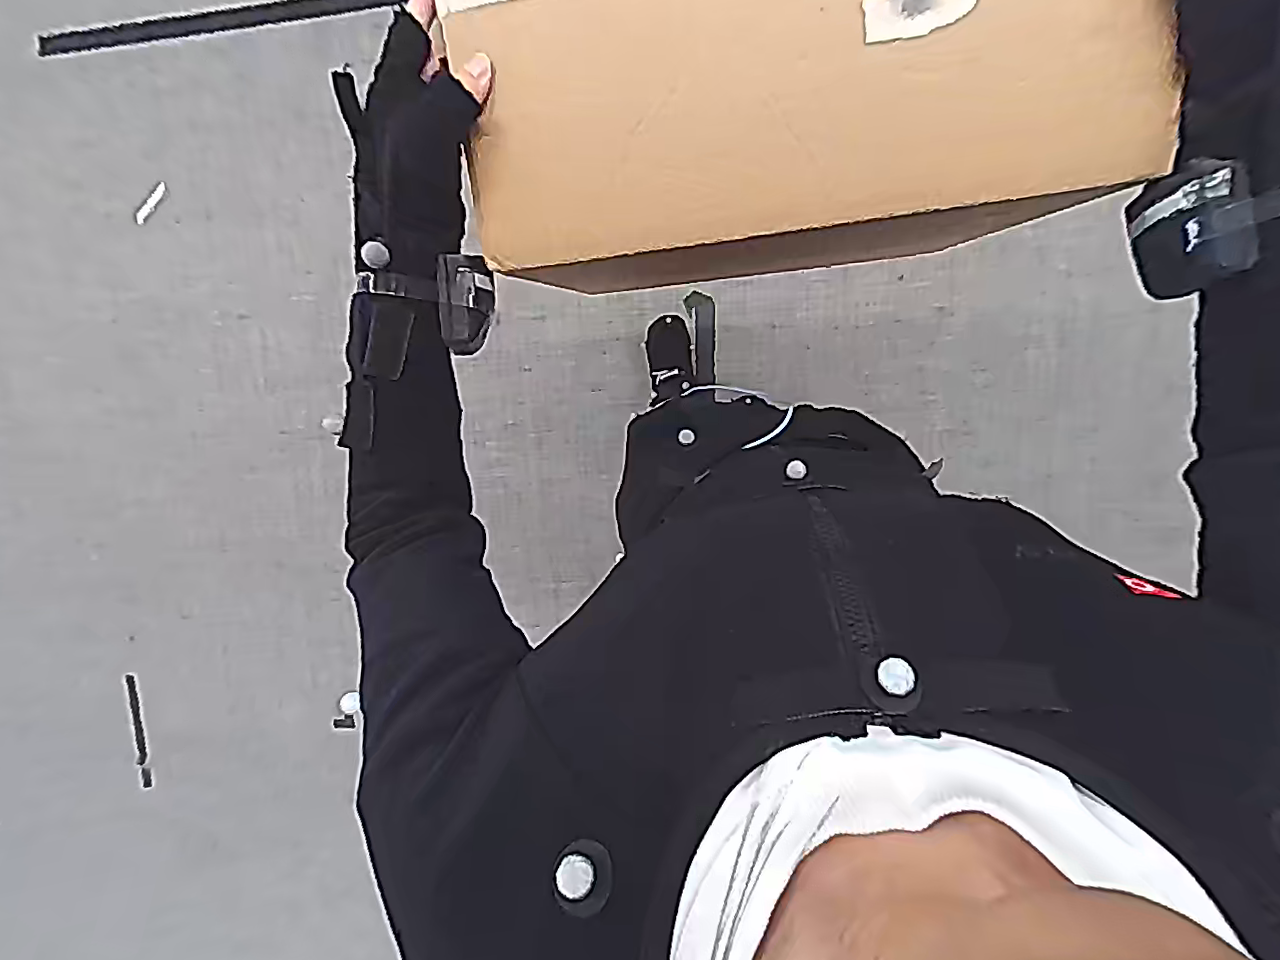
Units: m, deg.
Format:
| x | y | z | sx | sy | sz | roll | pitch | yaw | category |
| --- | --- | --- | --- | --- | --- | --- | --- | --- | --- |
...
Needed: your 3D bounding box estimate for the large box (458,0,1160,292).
| x | y | z | sx | sy | sz | roll | pitch | yaw | category |
| --- | --- | --- | --- | --- | --- | --- | --- | --- | --- |
| 0.096 | -0.354 | 0.449 | 0.408 | 0.320 | 0.320 | -5 | 106 | 8 | large box |
